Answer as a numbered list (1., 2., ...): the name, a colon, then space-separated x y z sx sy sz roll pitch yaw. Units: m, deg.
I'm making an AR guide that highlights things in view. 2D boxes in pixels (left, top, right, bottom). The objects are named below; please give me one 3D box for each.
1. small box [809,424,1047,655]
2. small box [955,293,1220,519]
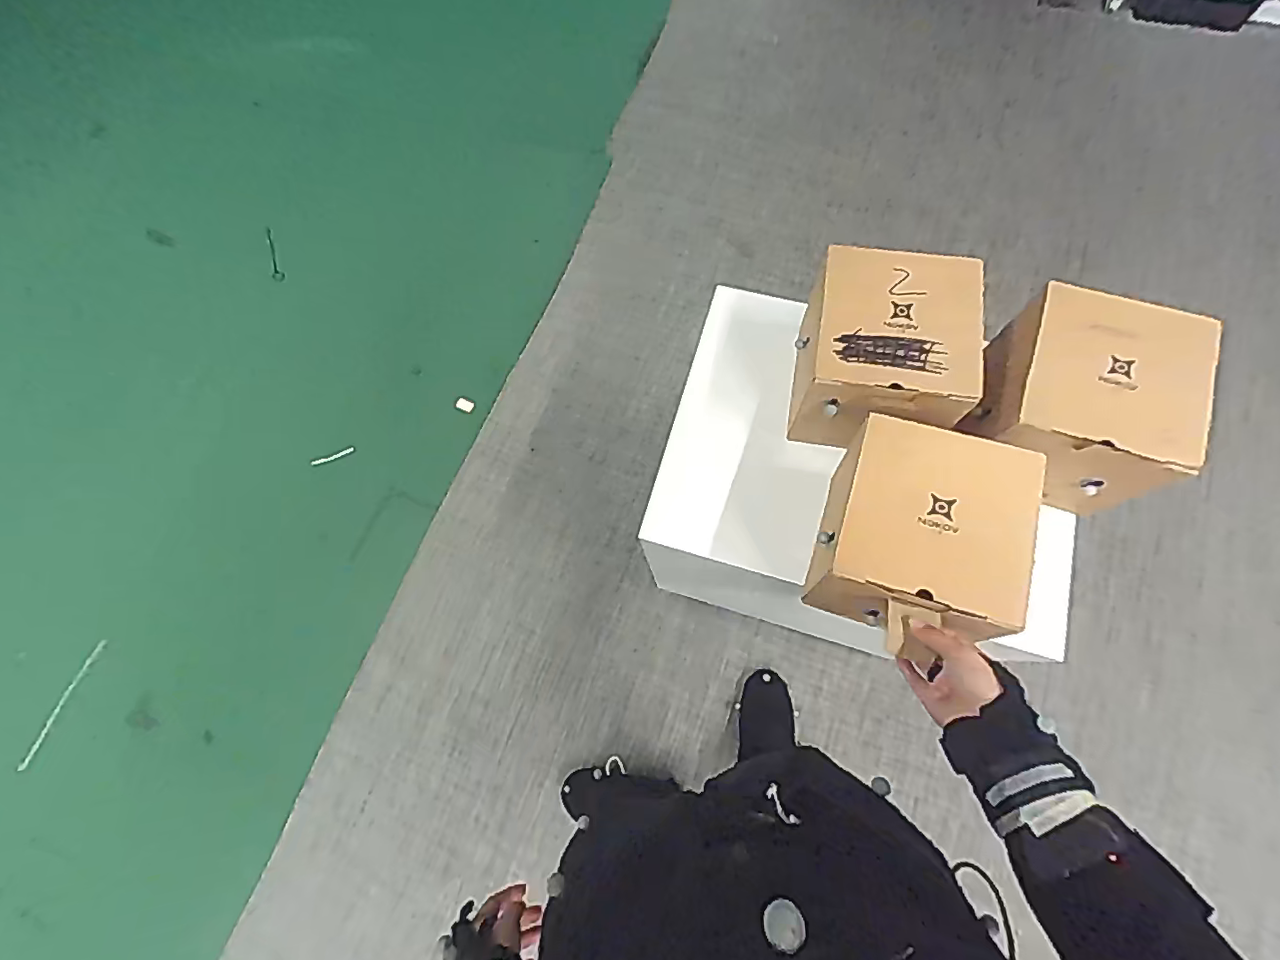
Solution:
1. small box: 0.290 0.071 0.575 0.168 0.176 0.179 16 71 14
2. small box: 0.485 -0.072 0.614 0.168 0.176 0.179 19 74 10
